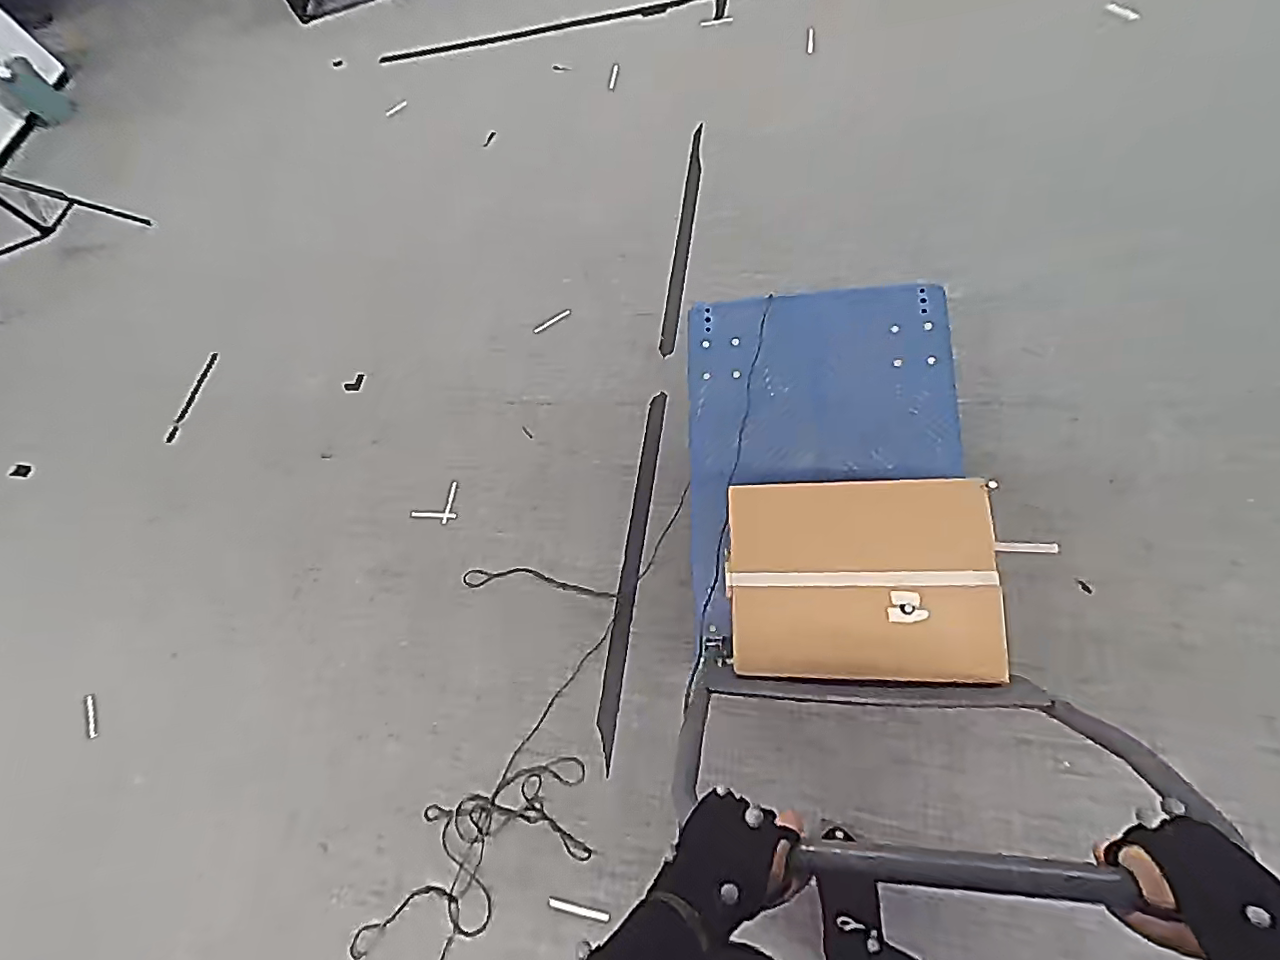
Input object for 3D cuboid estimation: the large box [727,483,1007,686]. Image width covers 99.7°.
[{"bbox_3d":[0.373,0.190,1.004,0.408,0.320,0.320,-2,81,10],"label":"large box"}]
